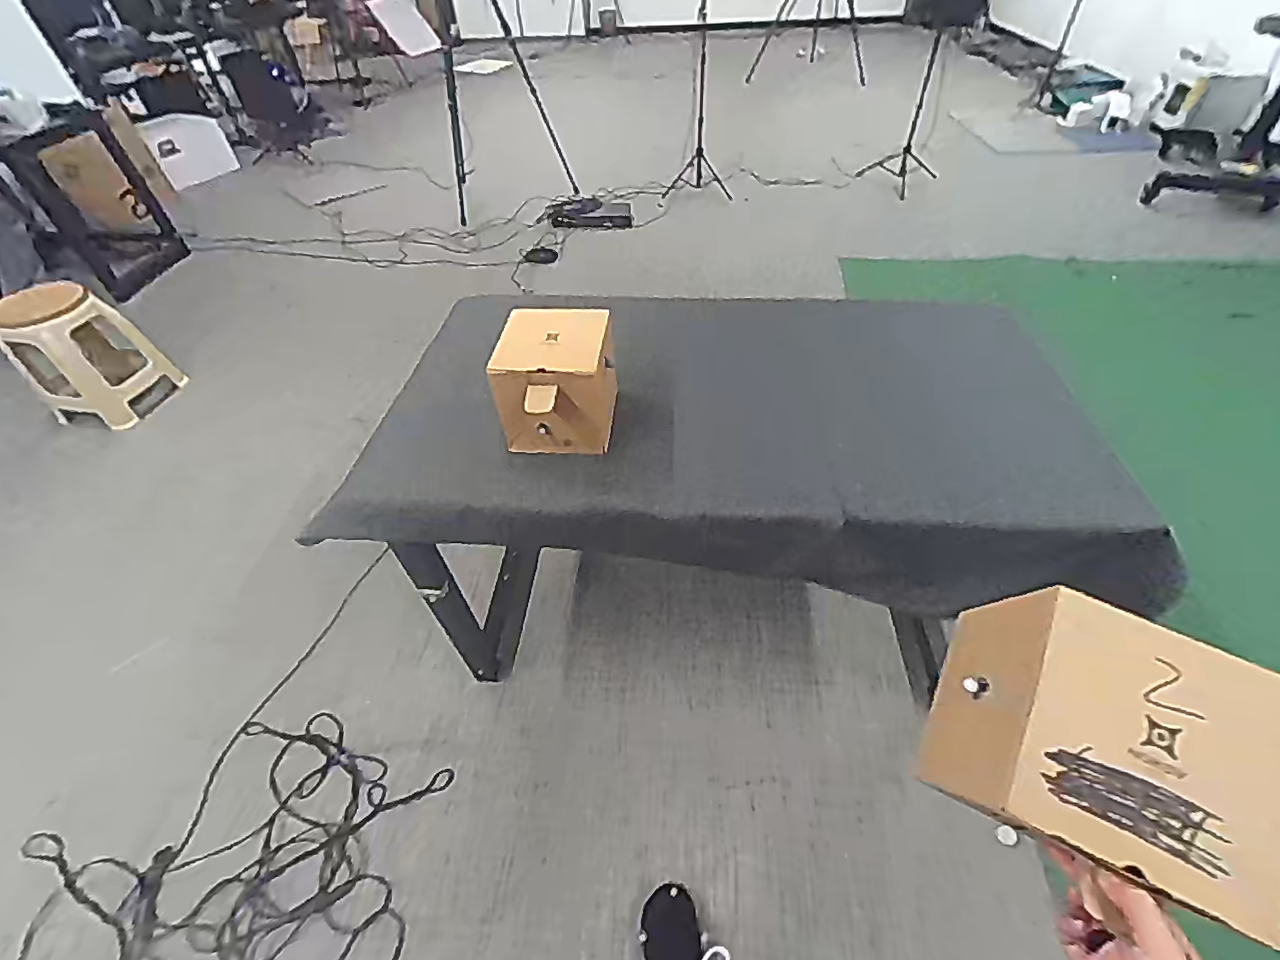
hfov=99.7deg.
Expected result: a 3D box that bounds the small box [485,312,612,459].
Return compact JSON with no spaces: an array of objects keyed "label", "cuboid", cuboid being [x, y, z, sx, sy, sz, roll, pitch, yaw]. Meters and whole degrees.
[{"label":"small box","cuboid":[-0.138,-0.157,0.892,0.168,0.176,0.179,2,48,4]}]
